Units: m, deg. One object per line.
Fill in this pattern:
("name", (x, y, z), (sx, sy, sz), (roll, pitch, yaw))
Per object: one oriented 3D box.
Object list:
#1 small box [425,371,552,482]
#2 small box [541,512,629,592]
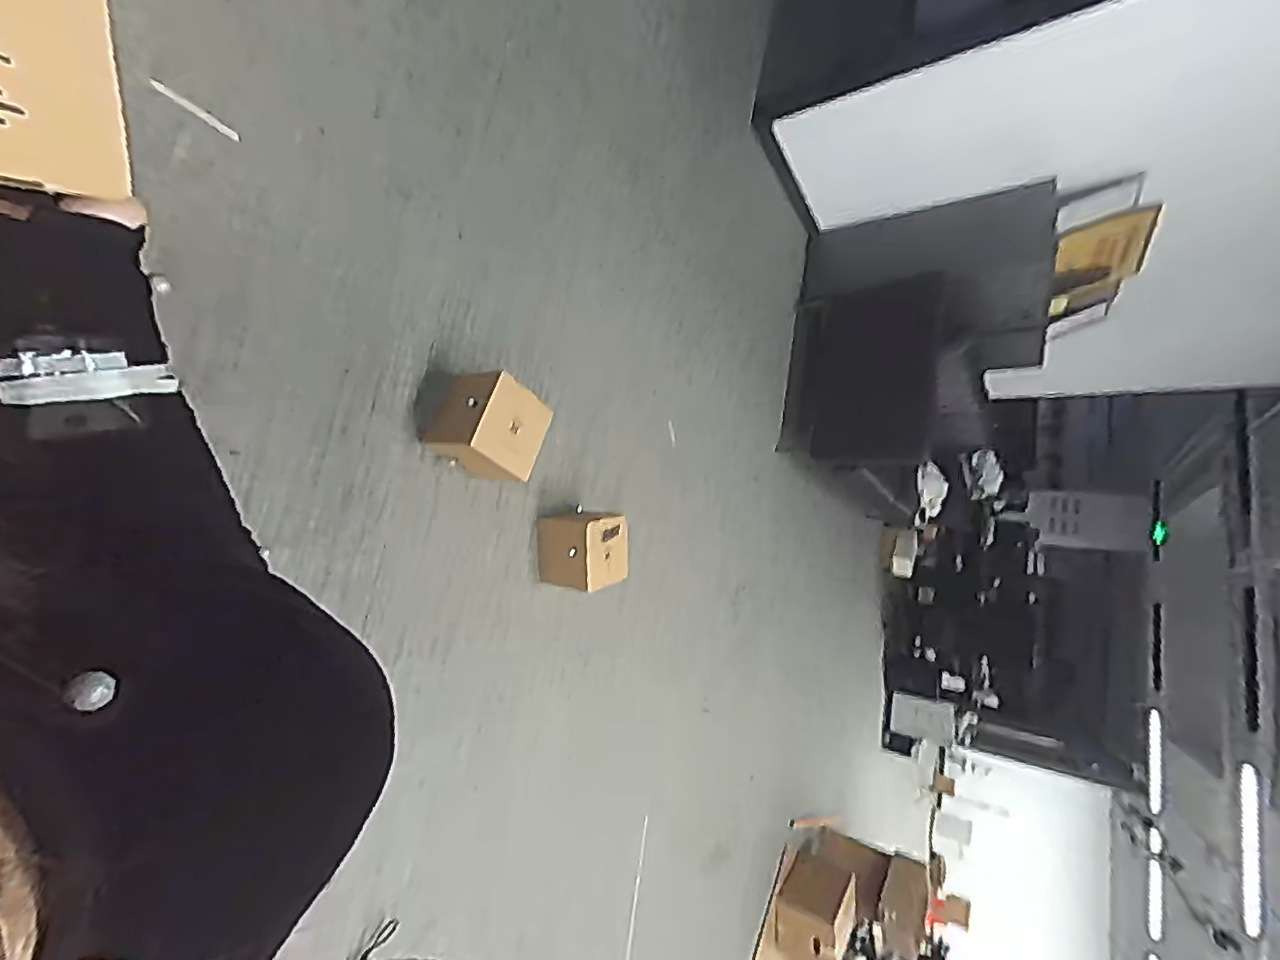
("small box", (-0.323, -0.110, 1.154), (0.168, 0.176, 0.179), (42, 58, -48))
("small box", (-0.147, 0.181, 1.422), (0.168, 0.176, 0.179), (-9, 99, -54))
